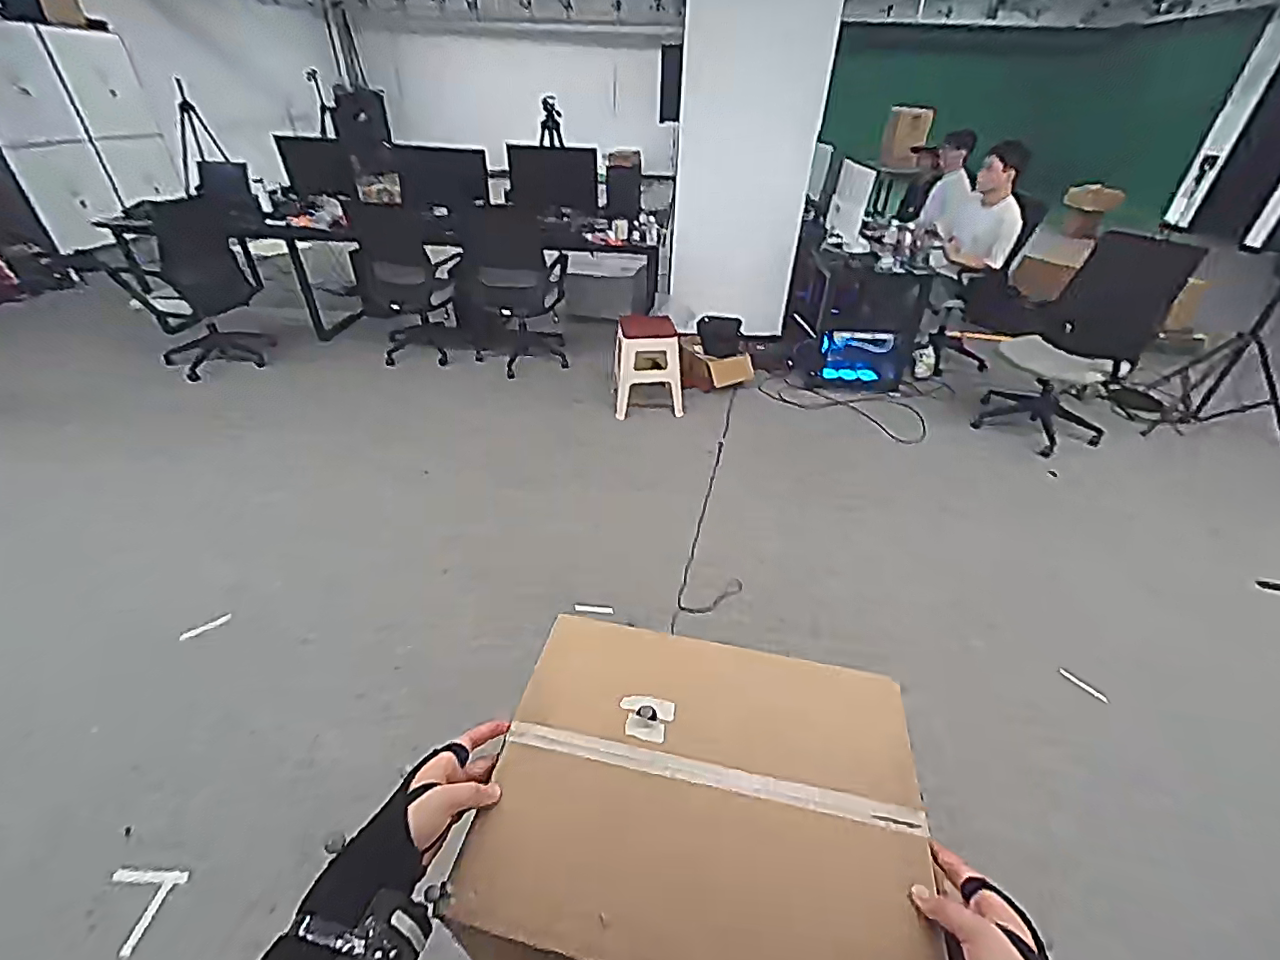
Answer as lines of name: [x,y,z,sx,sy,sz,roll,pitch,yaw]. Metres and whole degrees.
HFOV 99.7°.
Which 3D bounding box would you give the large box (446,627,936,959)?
large box: [0.061,0.416,0.627,0.408,0.320,0.320,7,36,9]
